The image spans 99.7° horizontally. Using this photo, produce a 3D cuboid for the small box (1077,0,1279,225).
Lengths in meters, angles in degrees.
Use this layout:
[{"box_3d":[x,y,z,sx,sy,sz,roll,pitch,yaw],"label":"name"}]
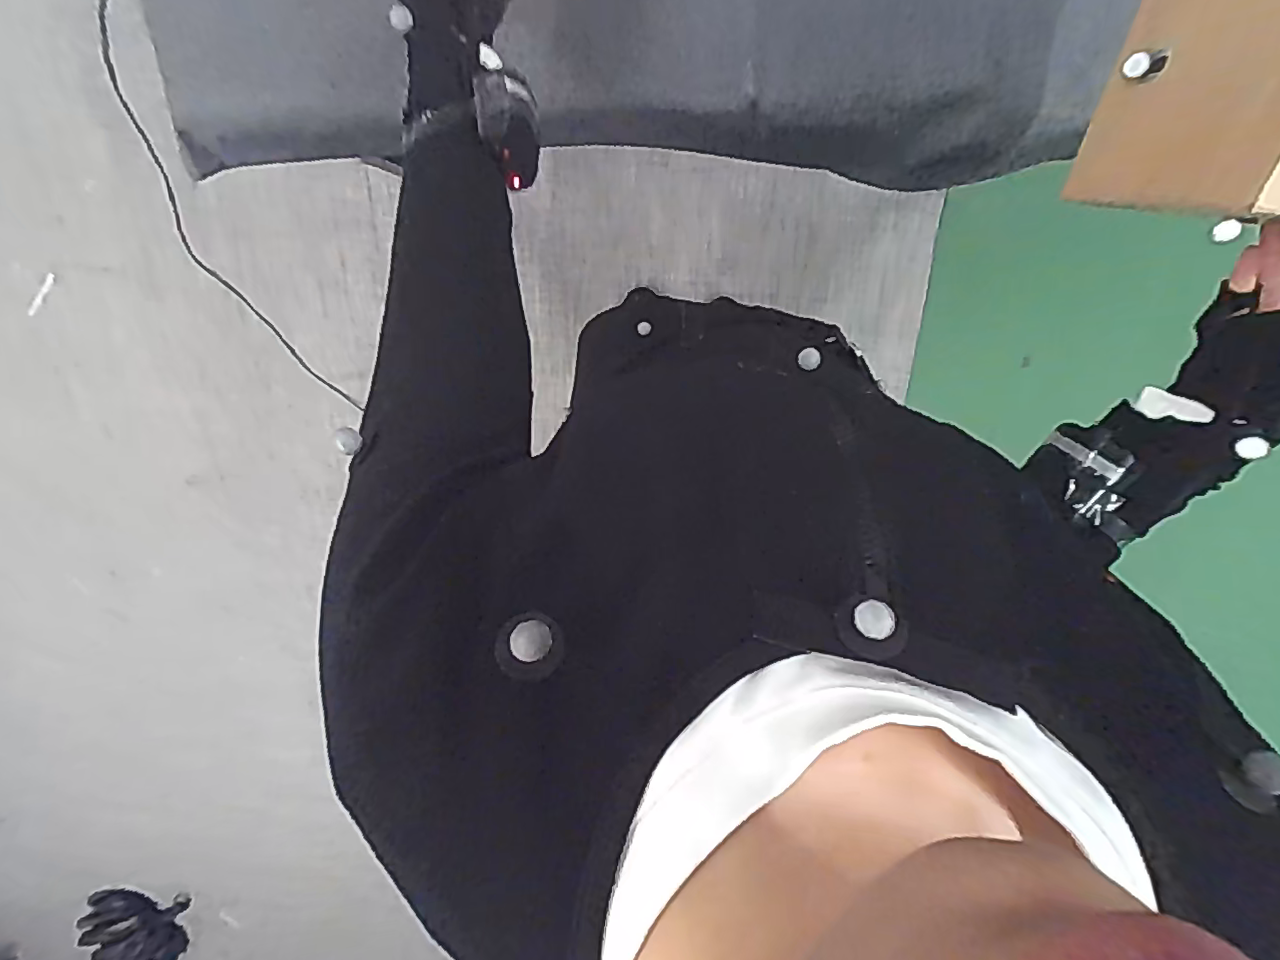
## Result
[{"box_3d":[0.438,-0.262,0.345,0.168,0.176,0.179,5,120,-3],"label":"small box"}]
